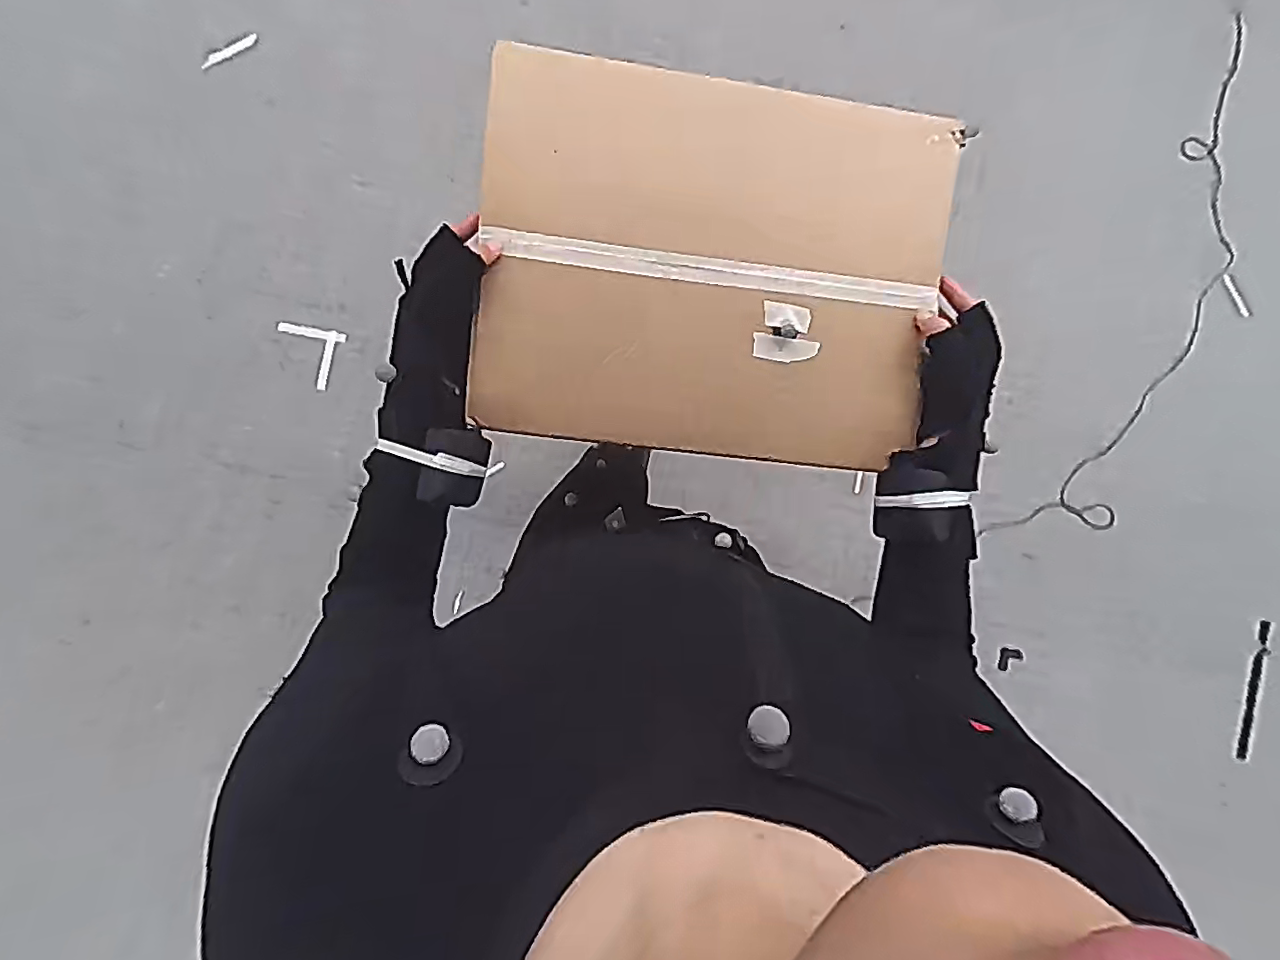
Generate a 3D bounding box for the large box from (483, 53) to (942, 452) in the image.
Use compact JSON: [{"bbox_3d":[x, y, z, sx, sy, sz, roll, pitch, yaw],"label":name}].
[{"bbox_3d":[0.053,-0.208,0.634,0.408,0.320,0.320,6,96,-6],"label":"large box"}]
